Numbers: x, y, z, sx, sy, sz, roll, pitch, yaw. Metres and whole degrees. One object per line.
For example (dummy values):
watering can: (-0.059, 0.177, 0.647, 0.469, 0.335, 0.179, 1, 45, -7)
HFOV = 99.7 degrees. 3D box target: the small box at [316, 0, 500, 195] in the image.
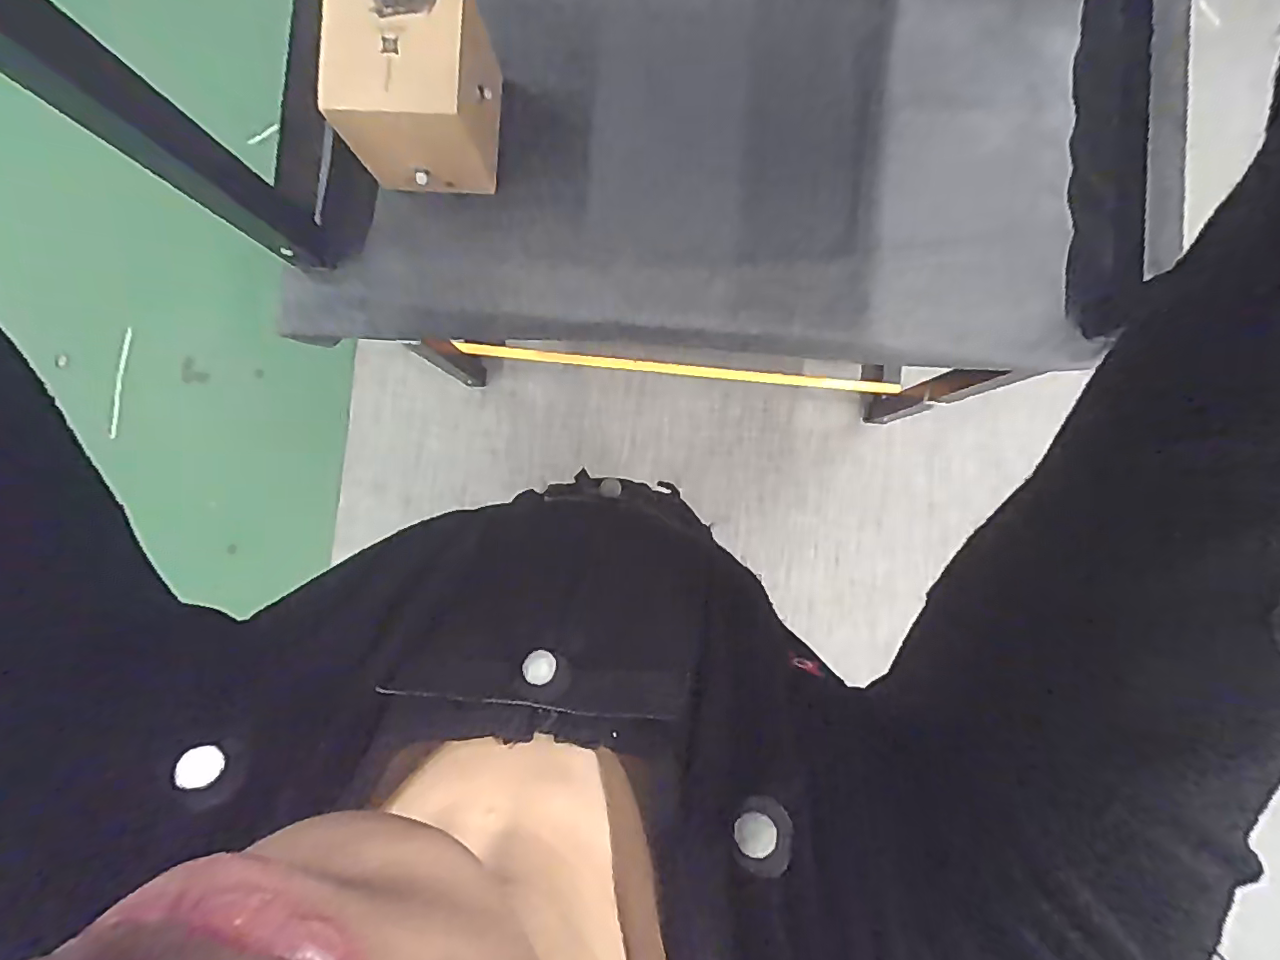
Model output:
small box: (-0.287, -0.508, 0.707, 0.168, 0.176, 0.179, 3, 88, 1)
